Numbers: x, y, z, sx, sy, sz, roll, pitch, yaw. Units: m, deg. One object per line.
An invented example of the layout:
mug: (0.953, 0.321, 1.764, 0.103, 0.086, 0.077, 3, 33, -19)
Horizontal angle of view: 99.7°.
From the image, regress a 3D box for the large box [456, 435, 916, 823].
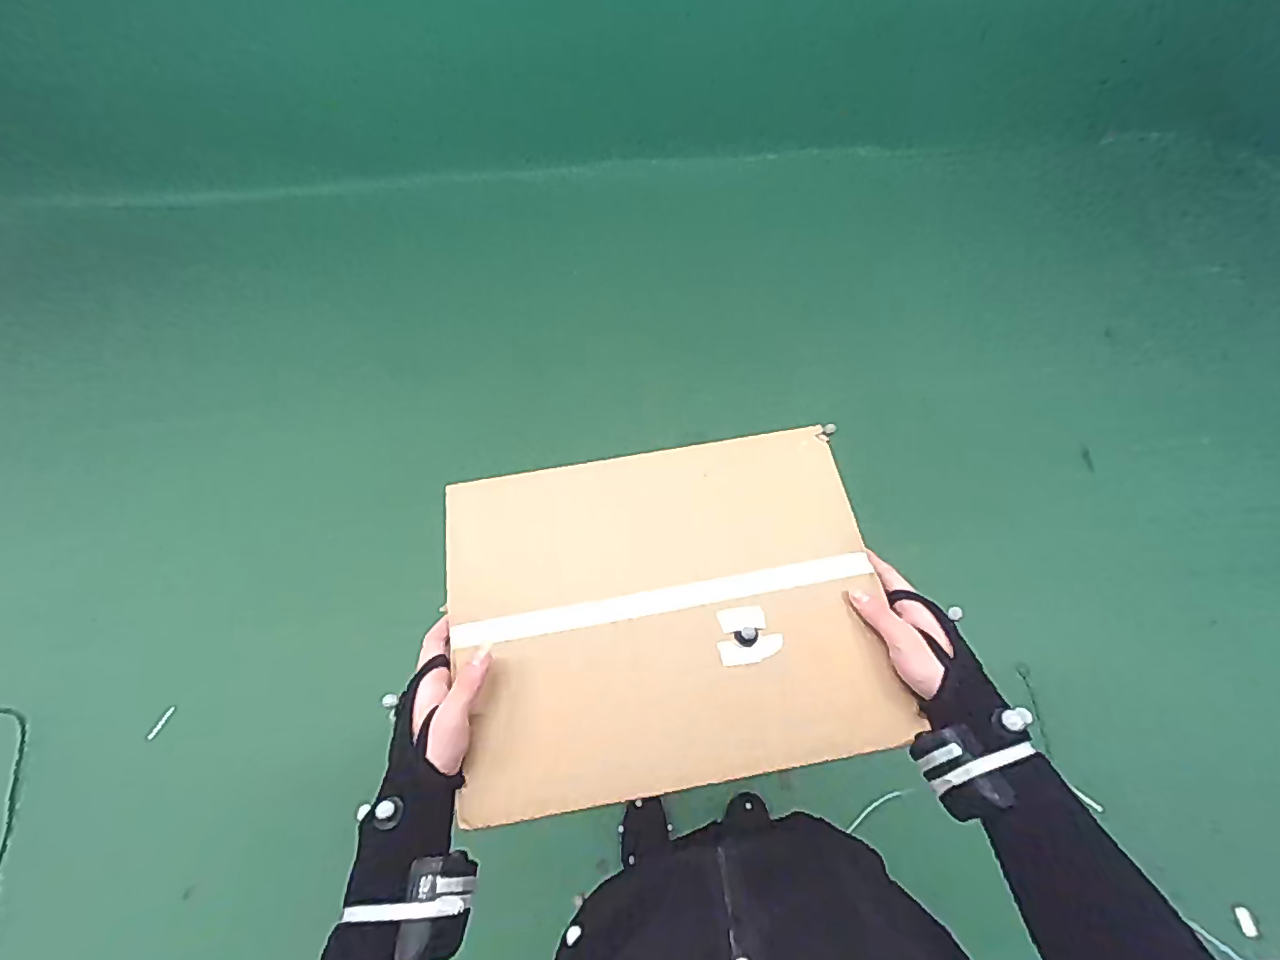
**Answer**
large box: (0.026, 0.181, 0.660, 0.408, 0.320, 0.320, -9, 66, -4)
